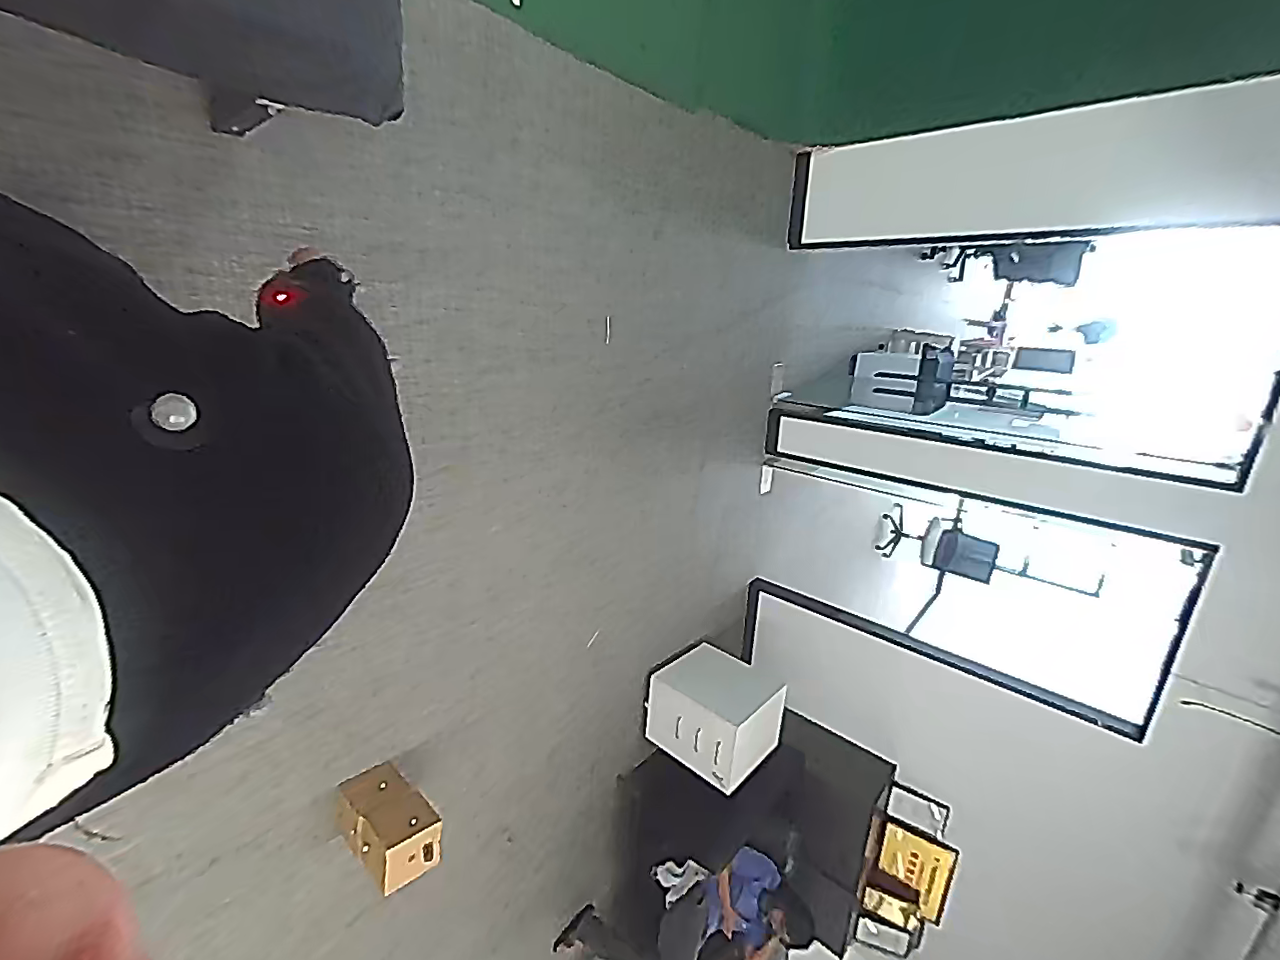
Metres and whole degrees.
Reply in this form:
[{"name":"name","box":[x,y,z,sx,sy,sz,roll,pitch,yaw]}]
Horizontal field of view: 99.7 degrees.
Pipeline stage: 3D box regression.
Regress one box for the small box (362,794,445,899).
[{"name":"small box","box":[-0.730,1.117,1.667,0.179,0.176,0.168,-5,107,-49]}]

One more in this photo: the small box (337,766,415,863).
[{"name":"small box","box":[-0.860,1.079,1.762,0.179,0.176,0.168,-8,109,-50]}]
